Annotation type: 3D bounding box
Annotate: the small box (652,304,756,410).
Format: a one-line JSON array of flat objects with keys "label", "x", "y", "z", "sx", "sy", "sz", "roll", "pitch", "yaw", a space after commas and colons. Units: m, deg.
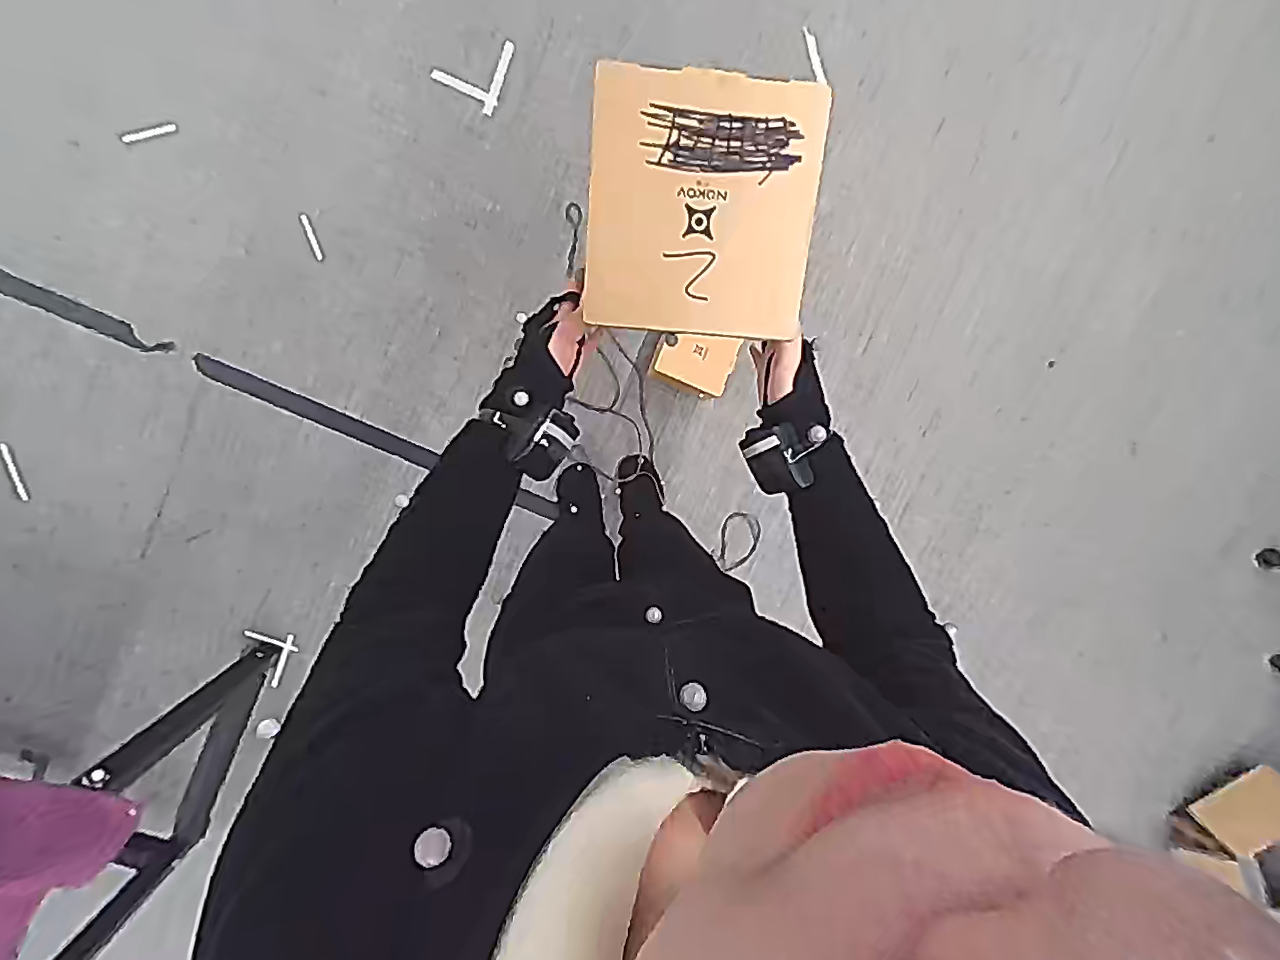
[{"label": "small box", "x": 0.155, "y": -0.292, "z": 1.306, "sx": 0.168, "sy": 0.176, "sz": 0.179, "roll": 20, "pitch": 76, "yaw": -27}]
